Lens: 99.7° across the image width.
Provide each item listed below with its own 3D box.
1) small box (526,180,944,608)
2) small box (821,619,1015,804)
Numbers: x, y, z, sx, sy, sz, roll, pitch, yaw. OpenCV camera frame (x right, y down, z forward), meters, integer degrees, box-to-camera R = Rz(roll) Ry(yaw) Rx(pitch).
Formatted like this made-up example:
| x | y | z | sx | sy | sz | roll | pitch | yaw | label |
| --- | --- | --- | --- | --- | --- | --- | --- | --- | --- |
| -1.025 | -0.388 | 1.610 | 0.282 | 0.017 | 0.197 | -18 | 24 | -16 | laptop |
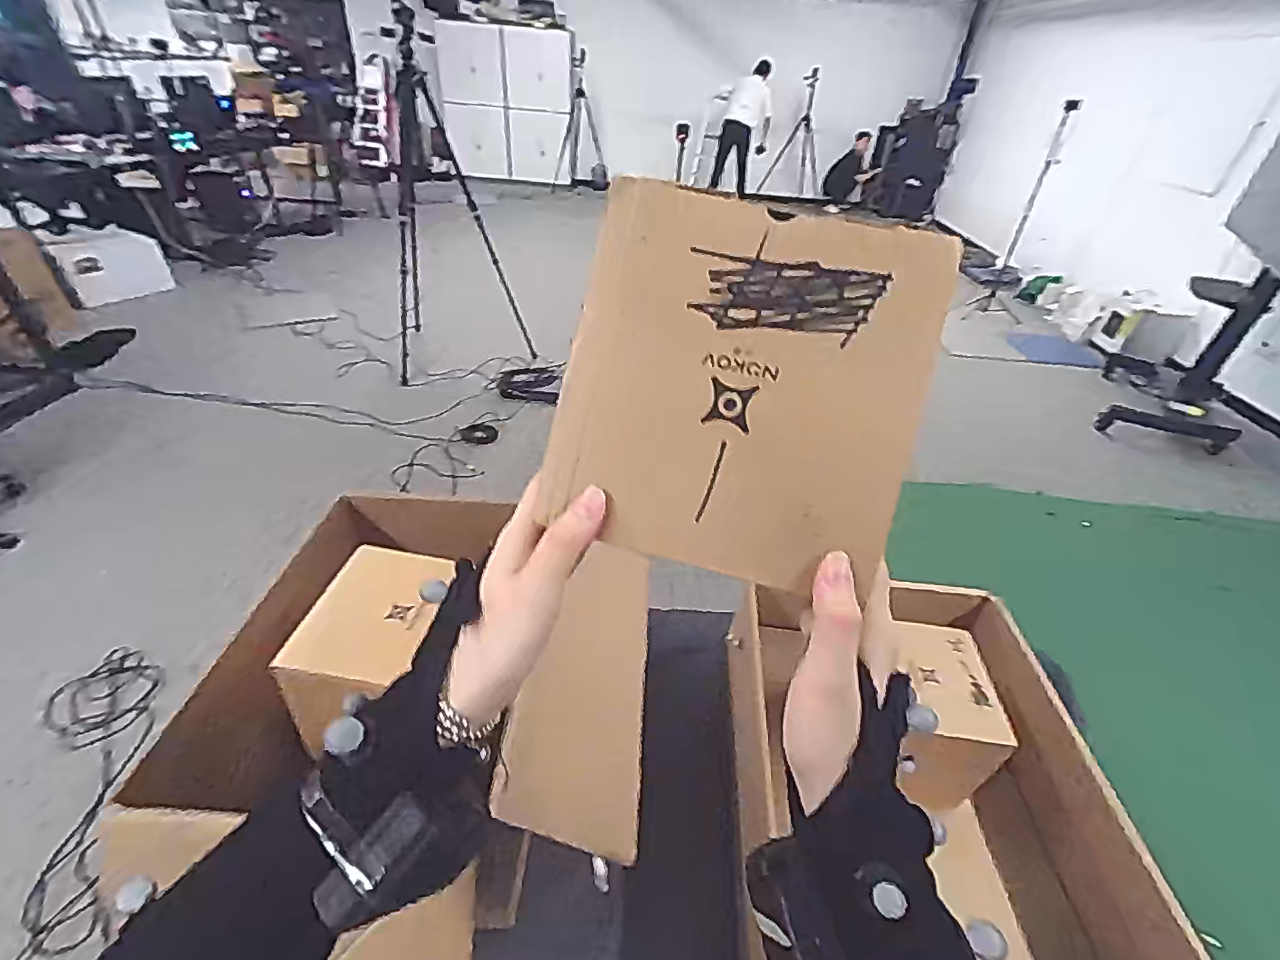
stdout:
| x | y | z | sx | sy | sz | roll | pitch | yaw | label |
| --- | --- | --- | --- | --- | --- | --- | --- | --- | --- |
| 0.050 | -0.043 | 0.337 | 0.168 | 0.179 | 0.176 | 14 | 2 | 6 | small box |
| 0.356 | 0.316 | 0.740 | 0.179 | 0.176 | 0.168 | 6 | 38 | 4 | small box |
